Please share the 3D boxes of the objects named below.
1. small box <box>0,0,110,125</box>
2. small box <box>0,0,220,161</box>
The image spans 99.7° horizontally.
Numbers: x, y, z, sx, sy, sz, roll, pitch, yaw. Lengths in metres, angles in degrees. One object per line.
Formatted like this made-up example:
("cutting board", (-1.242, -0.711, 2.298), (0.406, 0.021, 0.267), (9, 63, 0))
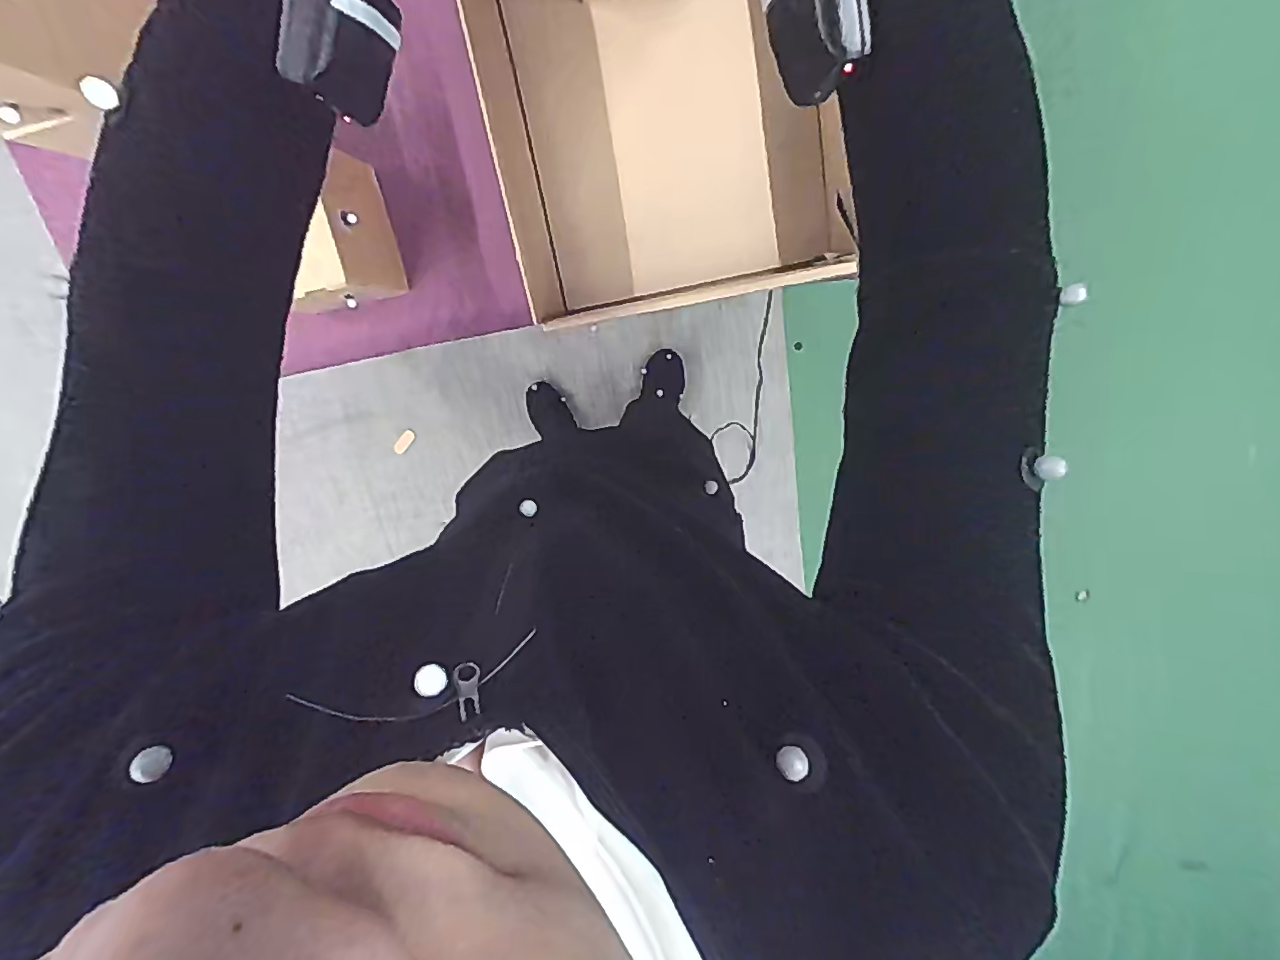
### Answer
("small box", (-0.695, -0.481, 0.525), (0.168, 0.176, 0.179), (-6, 107, 6))
("small box", (-0.690, -0.527, 0.683), (0.168, 0.176, 0.179), (-10, 106, 7))
